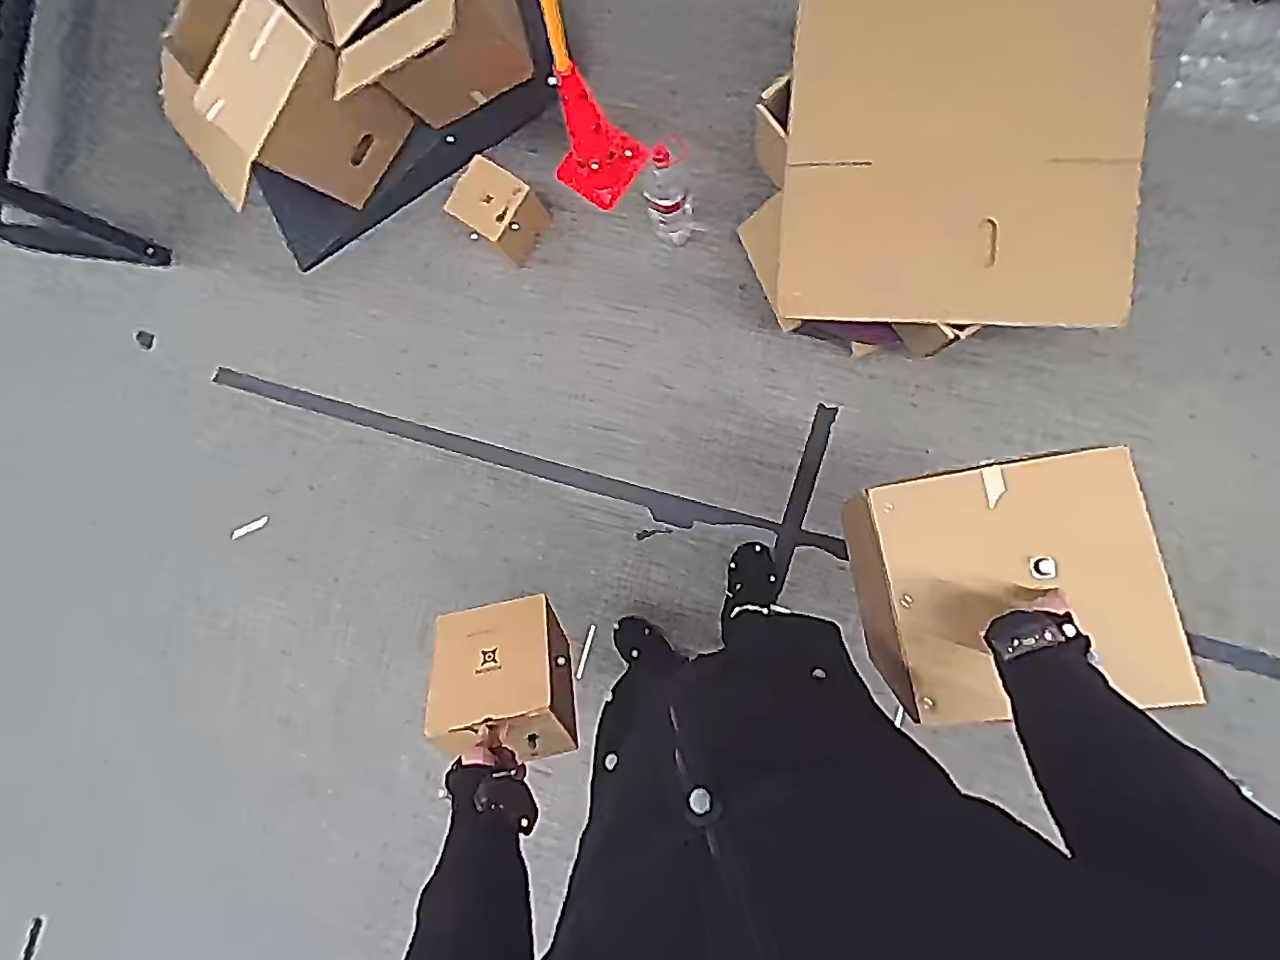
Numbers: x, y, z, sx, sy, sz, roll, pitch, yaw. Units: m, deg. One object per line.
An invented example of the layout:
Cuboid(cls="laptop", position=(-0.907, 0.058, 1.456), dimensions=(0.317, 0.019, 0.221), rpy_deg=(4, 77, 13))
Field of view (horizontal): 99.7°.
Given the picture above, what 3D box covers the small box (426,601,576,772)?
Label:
Cuboid(cls="small box", position=(-0.196, 0.311, 0.800), dimensions=(0.168, 0.176, 0.179), rpy_deg=(-12, 46, -2))
